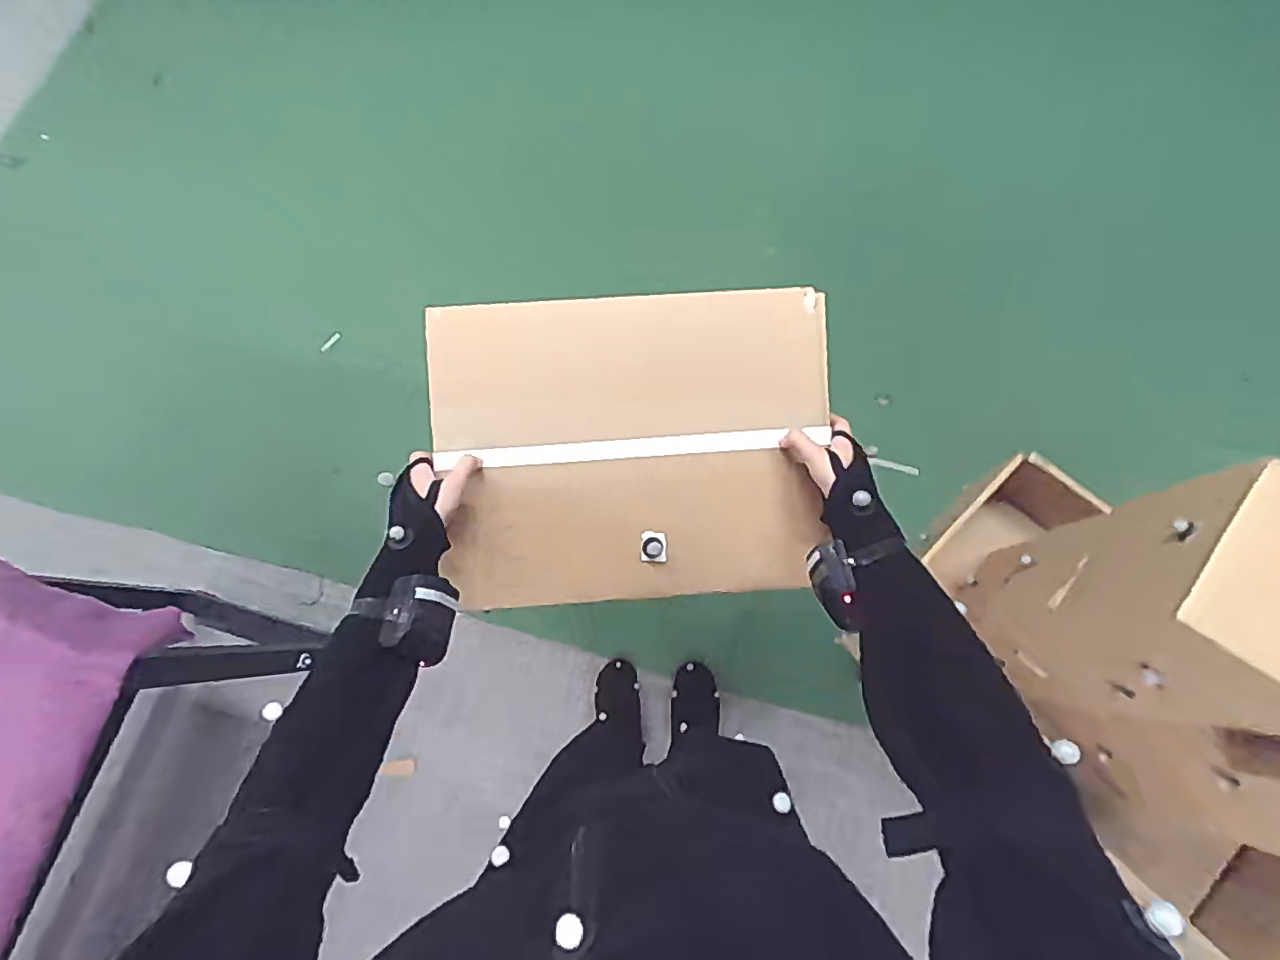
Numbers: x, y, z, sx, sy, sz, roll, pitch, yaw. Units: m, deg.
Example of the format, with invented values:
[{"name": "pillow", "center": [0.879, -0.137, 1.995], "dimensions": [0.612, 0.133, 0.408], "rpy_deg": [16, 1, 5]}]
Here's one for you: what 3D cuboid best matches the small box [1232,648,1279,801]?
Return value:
[{"name": "small box", "center": [0.693, 0.242, 0.465], "dimensions": [0.179, 0.176, 0.168], "rpy_deg": [29, 78, 17]}]
